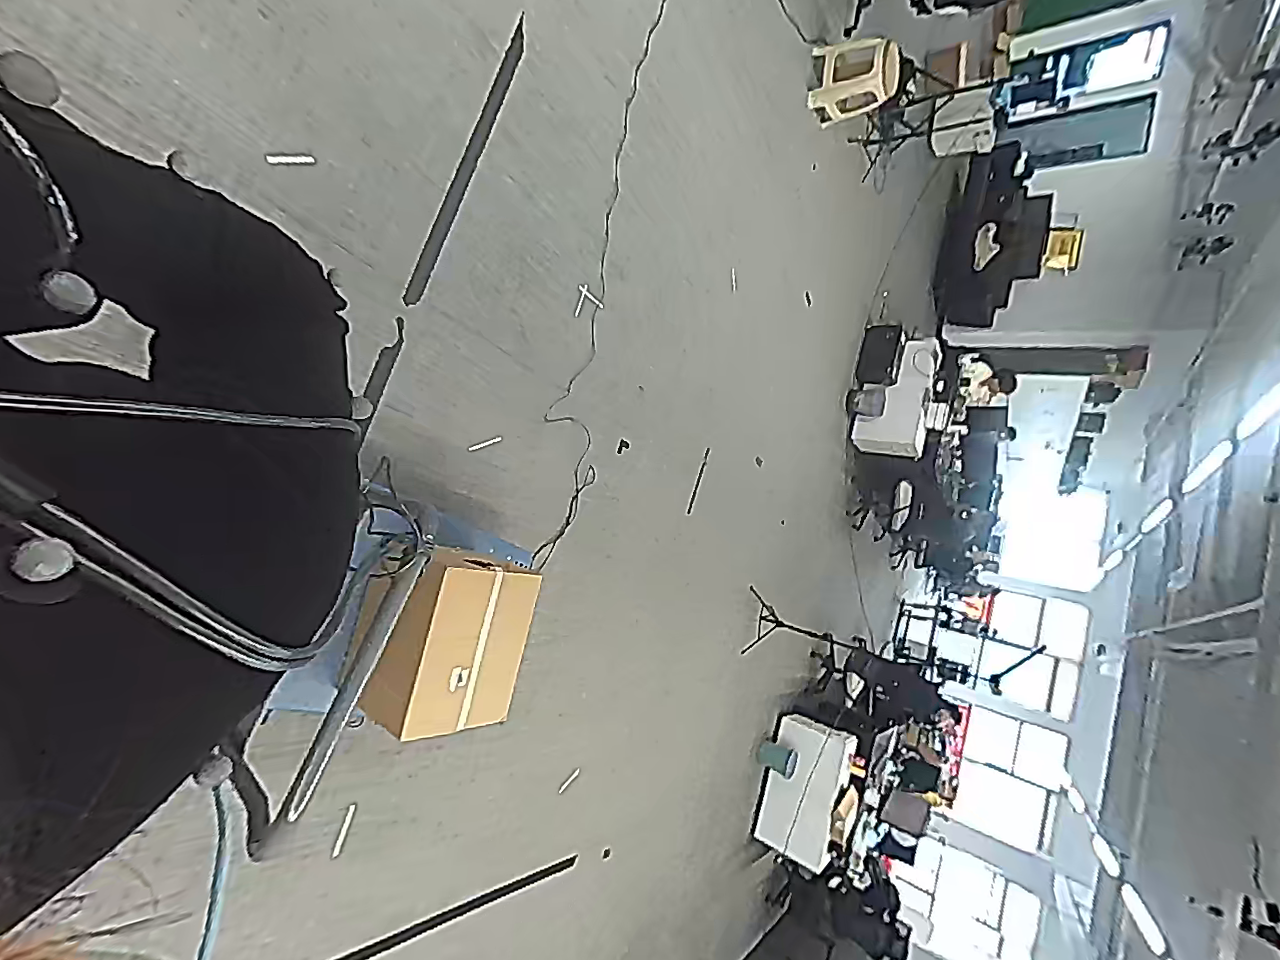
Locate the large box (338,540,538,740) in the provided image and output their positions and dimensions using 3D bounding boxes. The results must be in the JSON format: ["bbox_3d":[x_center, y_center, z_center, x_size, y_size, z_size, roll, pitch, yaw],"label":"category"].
[{"bbox_3d":[-0.525,0.393,1.421,0.320,0.320,0.408,20,83,-53],"label":"large box"}]
